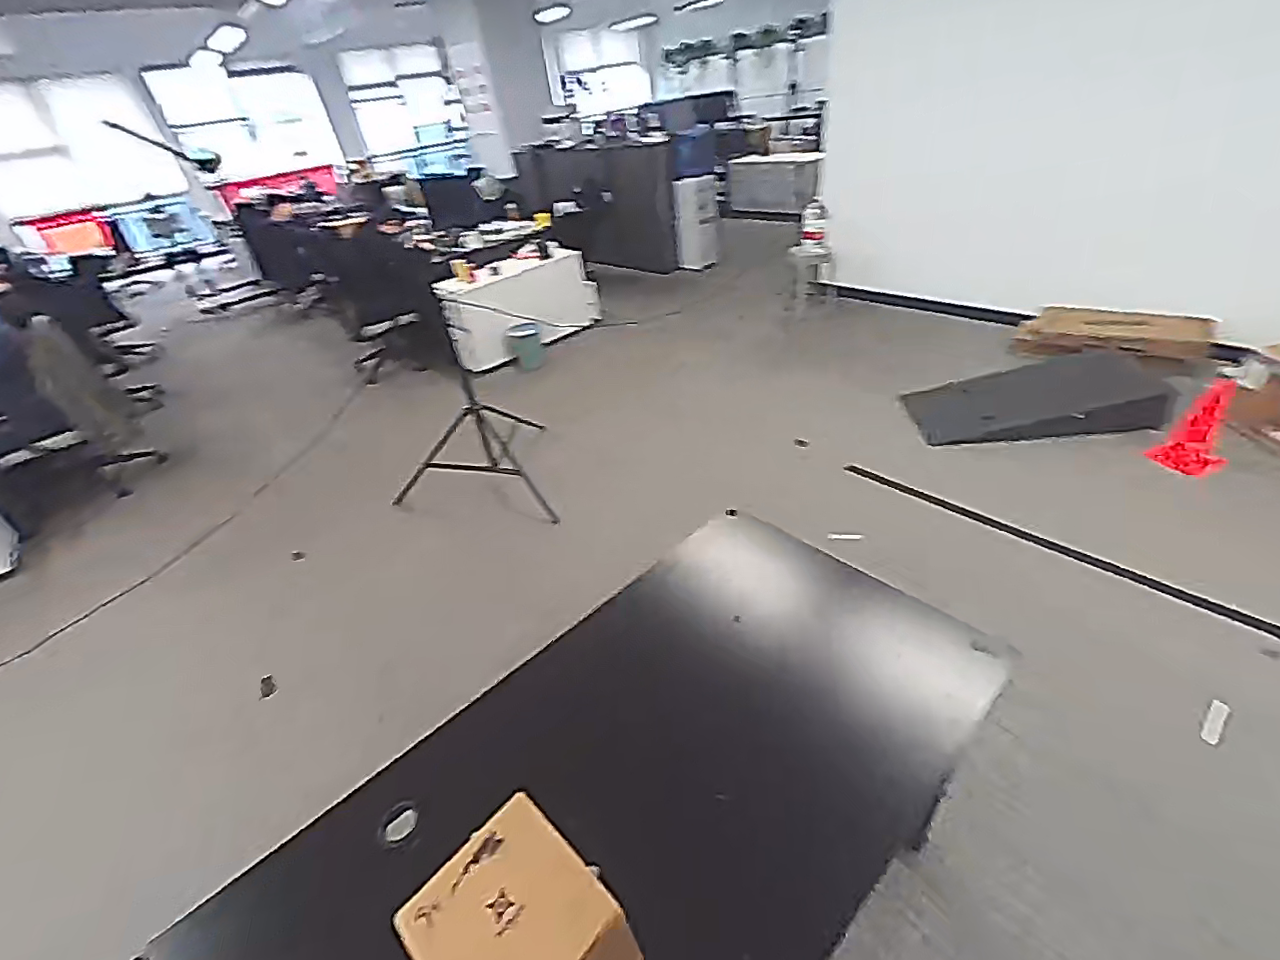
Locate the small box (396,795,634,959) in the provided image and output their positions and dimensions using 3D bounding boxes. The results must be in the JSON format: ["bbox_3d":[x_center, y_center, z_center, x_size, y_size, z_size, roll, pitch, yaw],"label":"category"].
[{"bbox_3d":[-0.126,0.504,0.596,0.179,0.176,0.168,24,48,38],"label":"small box"}]
